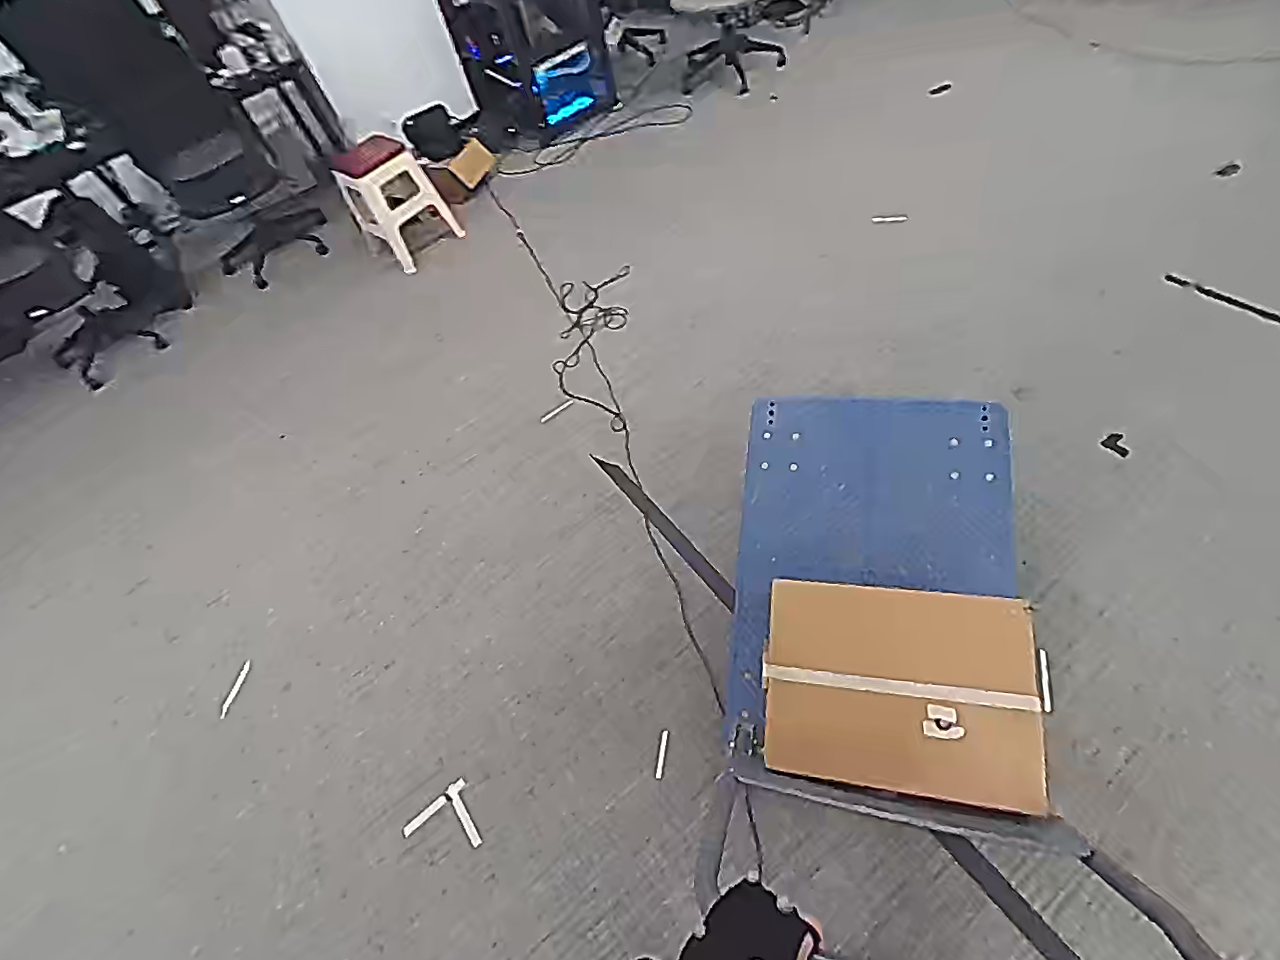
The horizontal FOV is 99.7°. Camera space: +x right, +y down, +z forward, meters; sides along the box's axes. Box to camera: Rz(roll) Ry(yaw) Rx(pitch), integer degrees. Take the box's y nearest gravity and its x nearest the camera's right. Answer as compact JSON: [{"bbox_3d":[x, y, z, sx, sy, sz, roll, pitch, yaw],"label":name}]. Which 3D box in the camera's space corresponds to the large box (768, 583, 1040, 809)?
[{"bbox_3d":[0.452,0.382,1.031,0.408,0.320,0.320,2,75,15],"label":"large box"}]
